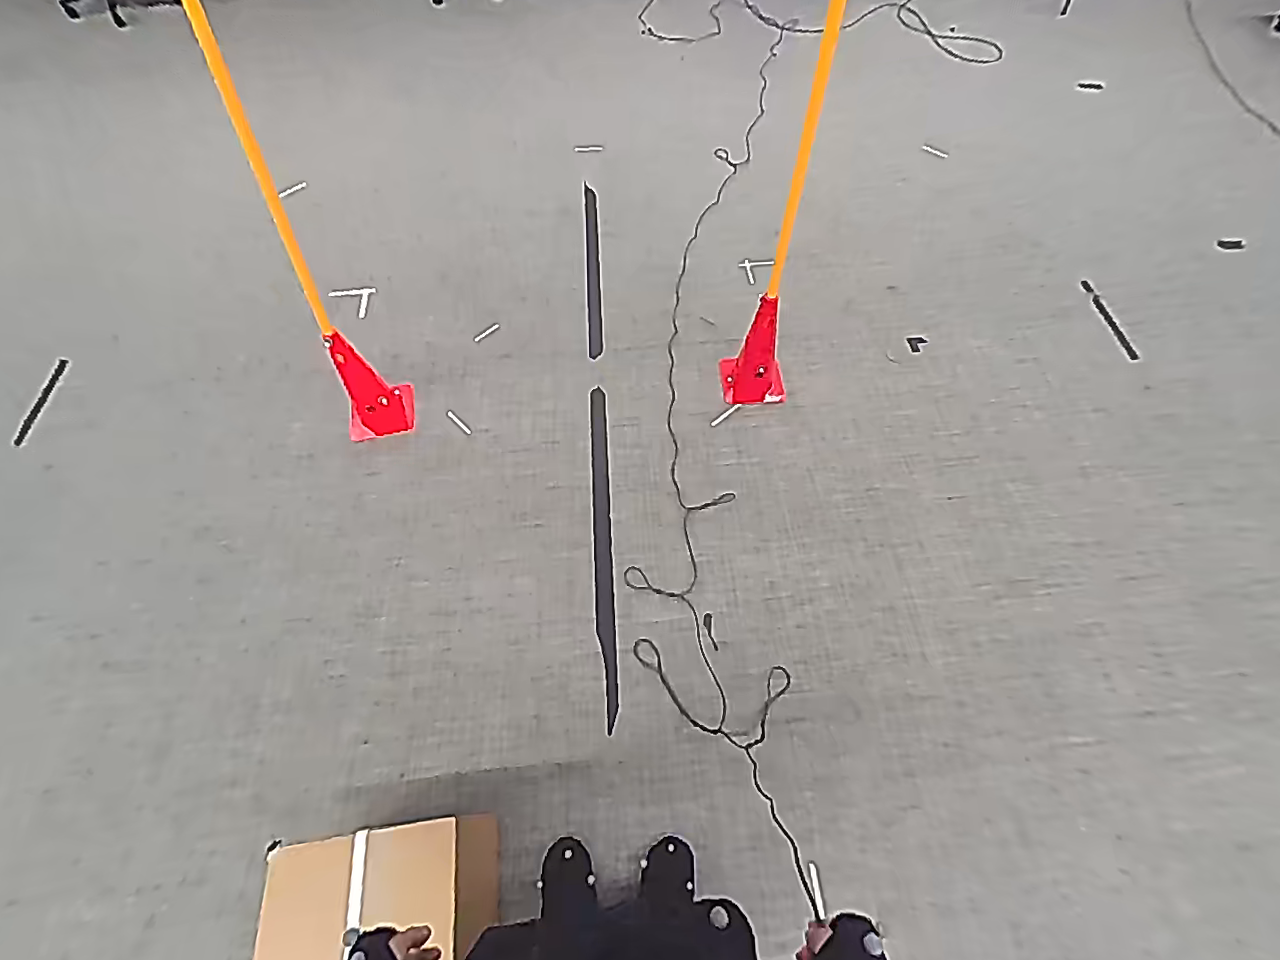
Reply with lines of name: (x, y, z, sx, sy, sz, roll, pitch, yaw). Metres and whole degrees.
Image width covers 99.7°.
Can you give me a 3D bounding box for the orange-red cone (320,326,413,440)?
orange-red cone: (-0.836, -0.307, 1.592, 0.199, 0.360, 0.198, -13, 60, -5)
